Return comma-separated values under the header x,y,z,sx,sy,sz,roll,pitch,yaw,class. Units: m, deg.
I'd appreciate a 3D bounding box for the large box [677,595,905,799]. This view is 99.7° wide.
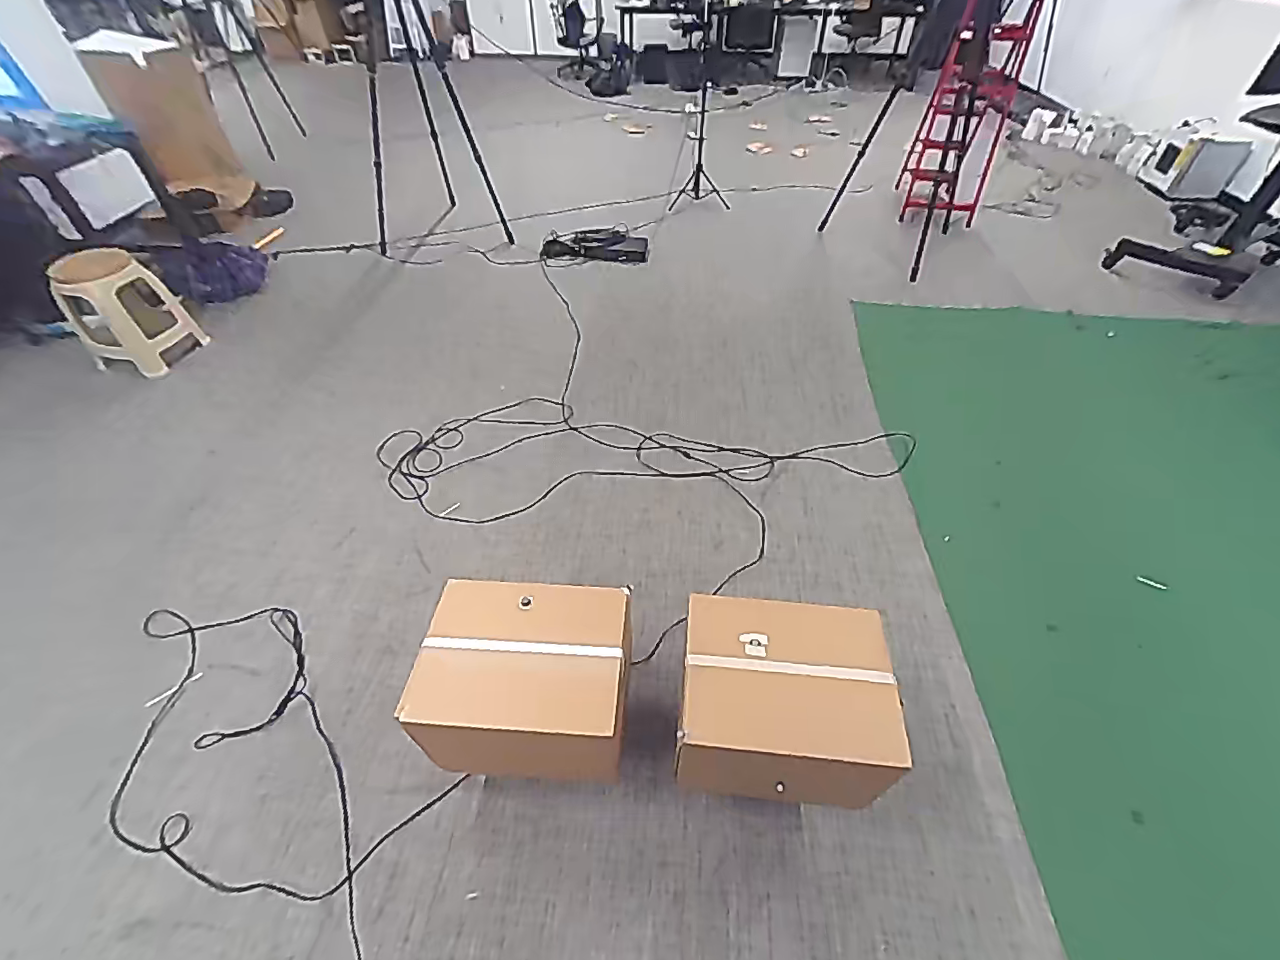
x,y,z,sx,sy,sz,roll,pitch,yaw,class
0.294,0.477,1.185,0.408,0.320,0.320,4,47,5,large box
